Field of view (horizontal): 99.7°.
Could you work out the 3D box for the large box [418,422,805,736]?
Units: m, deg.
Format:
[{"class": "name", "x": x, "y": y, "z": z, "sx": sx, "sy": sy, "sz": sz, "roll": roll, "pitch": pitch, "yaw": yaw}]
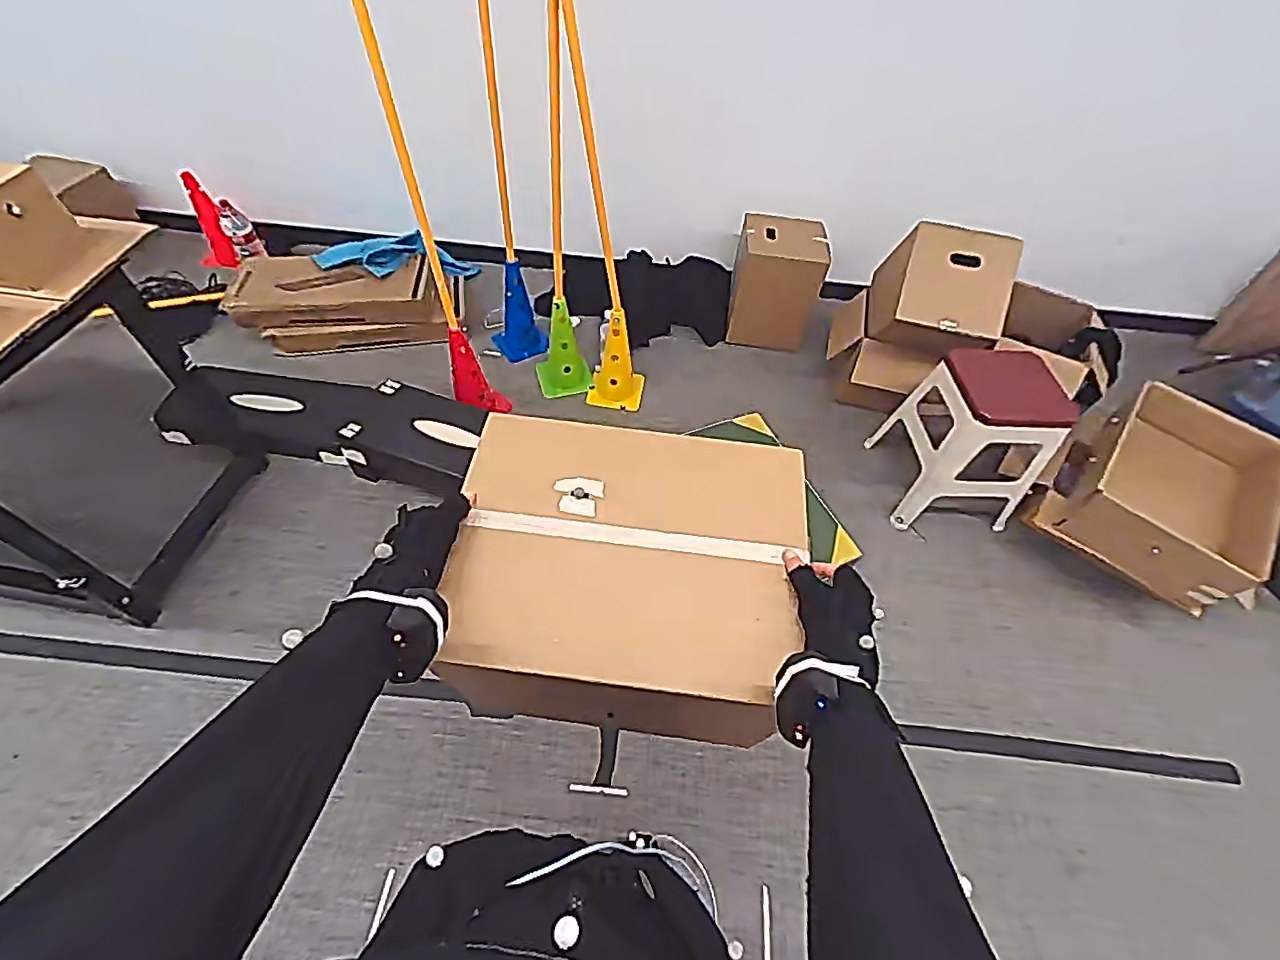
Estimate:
[{"class": "large box", "x": -0.016, "y": 0.150, "z": 0.749, "sx": 0.408, "sy": 0.320, "sz": 0.320, "roll": 7, "pitch": 57, "yaw": 3}]
